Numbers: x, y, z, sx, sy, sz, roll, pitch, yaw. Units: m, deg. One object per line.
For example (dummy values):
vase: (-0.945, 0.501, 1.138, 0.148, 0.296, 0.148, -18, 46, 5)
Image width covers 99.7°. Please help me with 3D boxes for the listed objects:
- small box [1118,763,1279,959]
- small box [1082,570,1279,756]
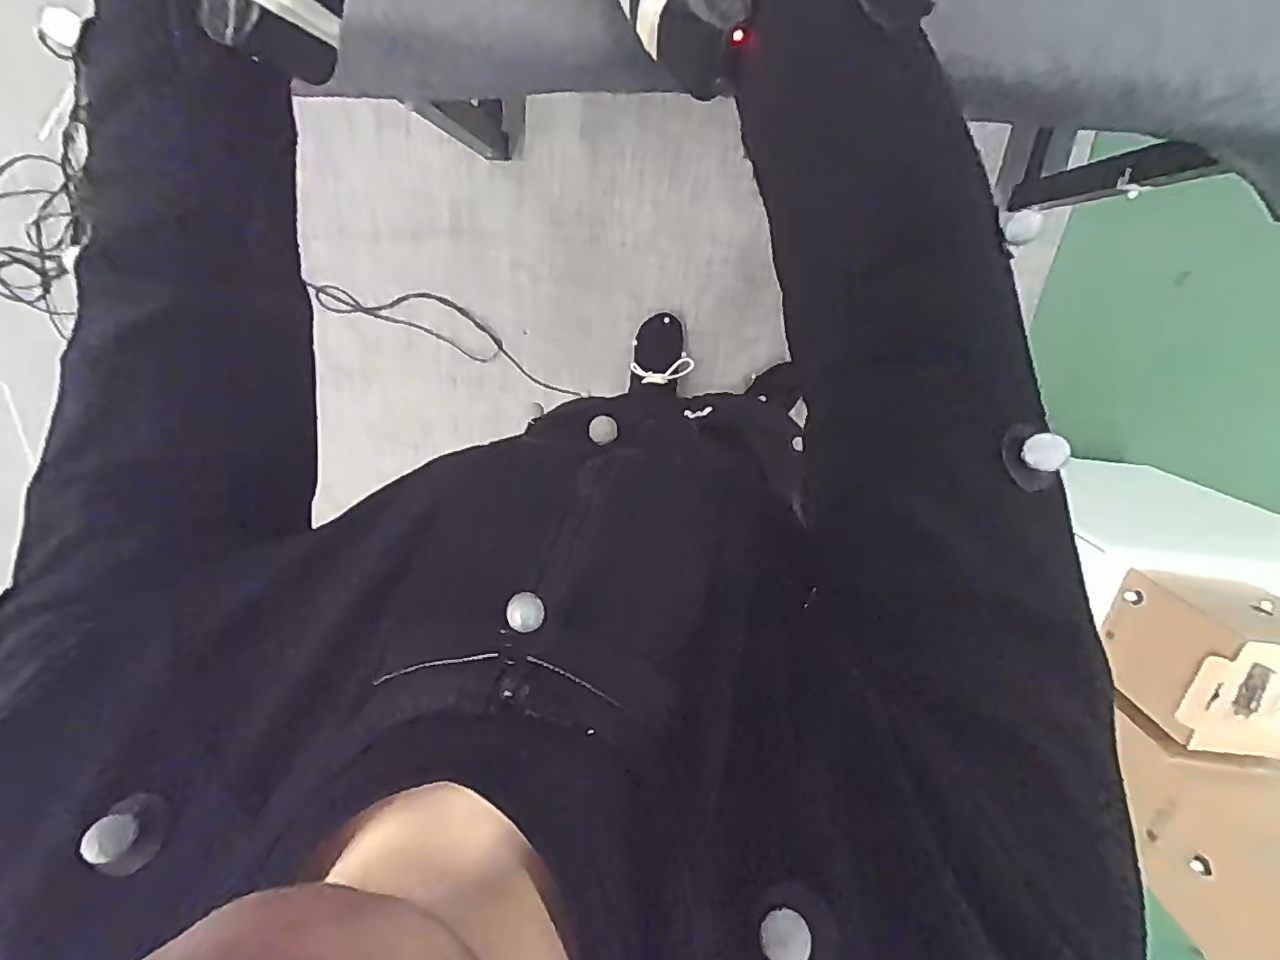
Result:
small box: (0.737, 0.469, 0.641, 0.179, 0.176, 0.168, 7, 109, -1)
small box: (0.764, 0.238, 0.734, 0.179, 0.176, 0.168, 6, 110, -1)
